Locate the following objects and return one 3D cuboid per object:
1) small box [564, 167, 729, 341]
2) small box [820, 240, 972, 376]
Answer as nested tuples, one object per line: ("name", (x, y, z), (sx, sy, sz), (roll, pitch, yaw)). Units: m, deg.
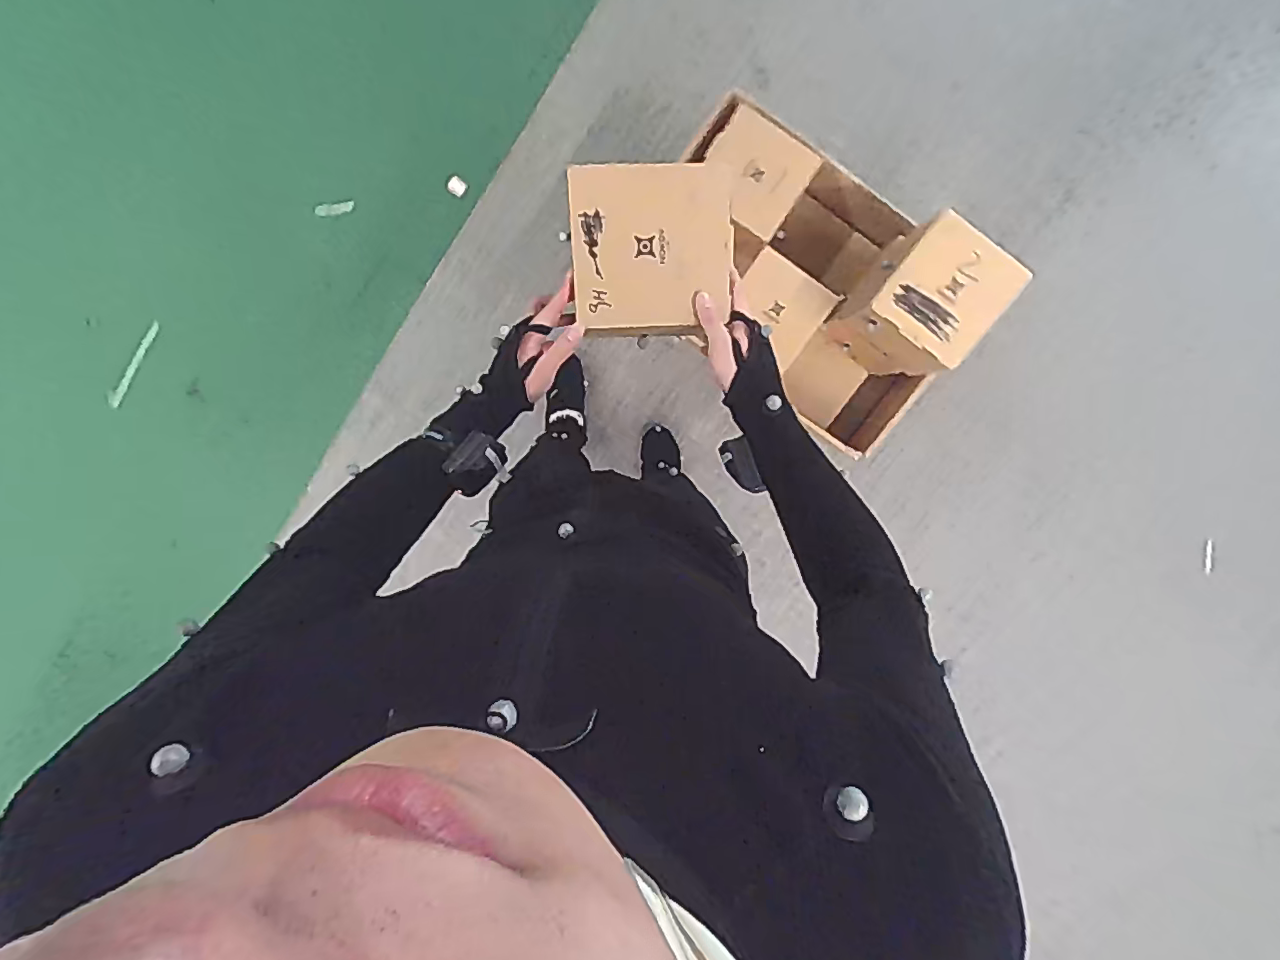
("small box", (0.000, -0.260, 0.657), (0.179, 0.176, 0.168), (-4, 101, -7))
("small box", (0.477, -0.319, 1.042), (0.168, 0.176, 0.179), (37, 100, -2))
